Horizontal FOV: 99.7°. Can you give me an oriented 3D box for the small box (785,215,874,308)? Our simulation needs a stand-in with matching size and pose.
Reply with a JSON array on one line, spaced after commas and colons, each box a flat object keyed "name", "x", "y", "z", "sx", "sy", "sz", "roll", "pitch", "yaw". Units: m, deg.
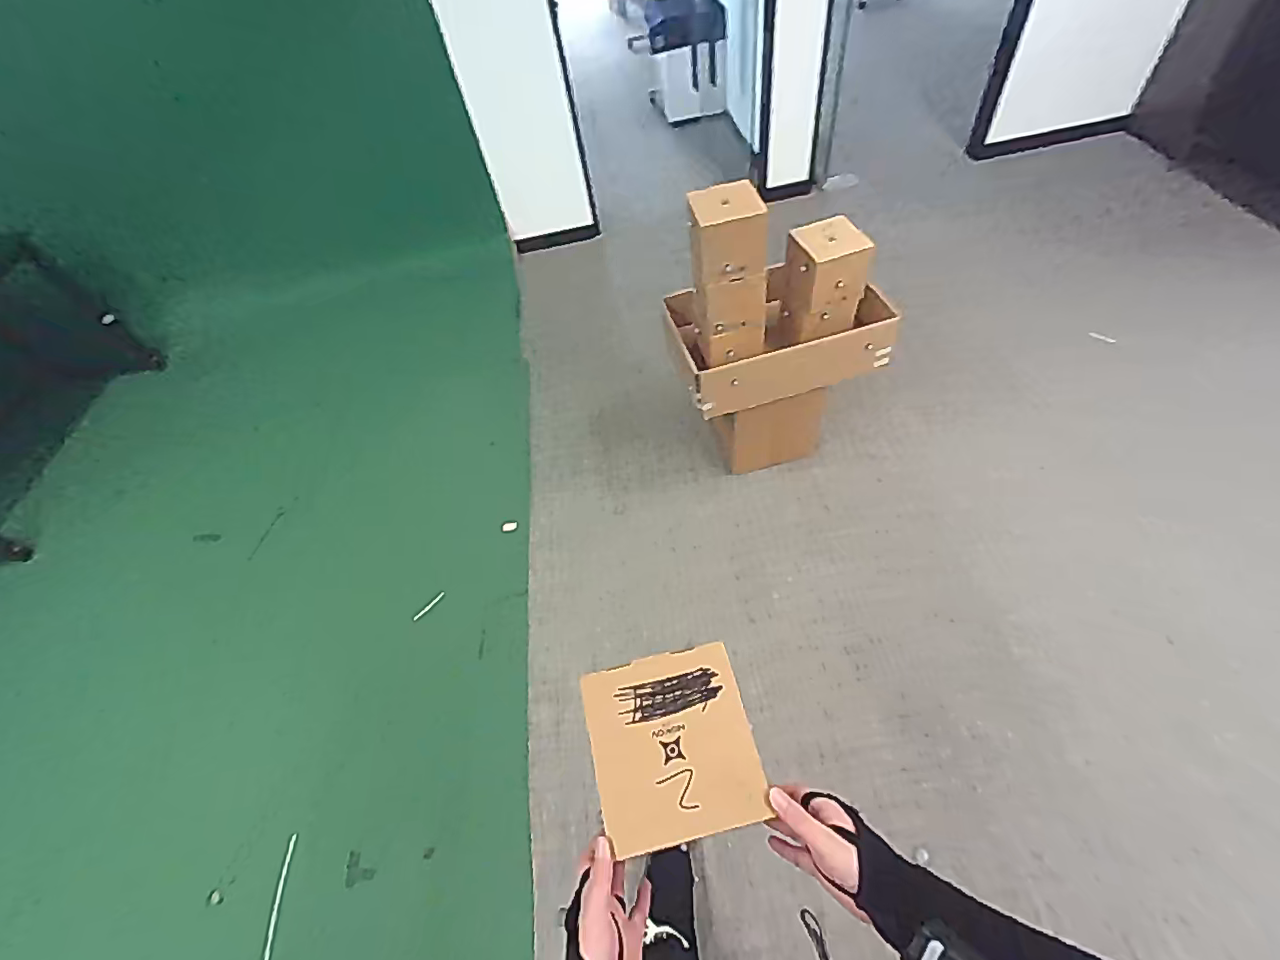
[{"name": "small box", "x": 0.523, "y": -0.605, "z": 1.519, "sx": 0.168, "sy": 0.176, "sz": 0.179, "roll": -17, "pitch": 53, "yaw": -5}]

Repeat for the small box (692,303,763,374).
[{"name": "small box", "x": 0.266, "y": -0.442, "z": 1.648, "sx": 0.168, "sy": 0.176, "sz": 0.179, "roll": -16, "pitch": 53, "yaw": -2}]

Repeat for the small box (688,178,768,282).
[{"name": "small box", "x": 0.221, "y": -0.639, "z": 1.390, "sx": 0.168, "sy": 0.176, "sz": 0.179, "roll": -12, "pitch": 53, "yaw": 1}]

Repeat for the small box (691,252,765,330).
[{"name": "small box", "x": 0.246, "y": -0.540, "z": 1.517, "sx": 0.168, "sy": 0.176, "sz": 0.179, "roll": -12, "pitch": 52, "yaw": 0}]
